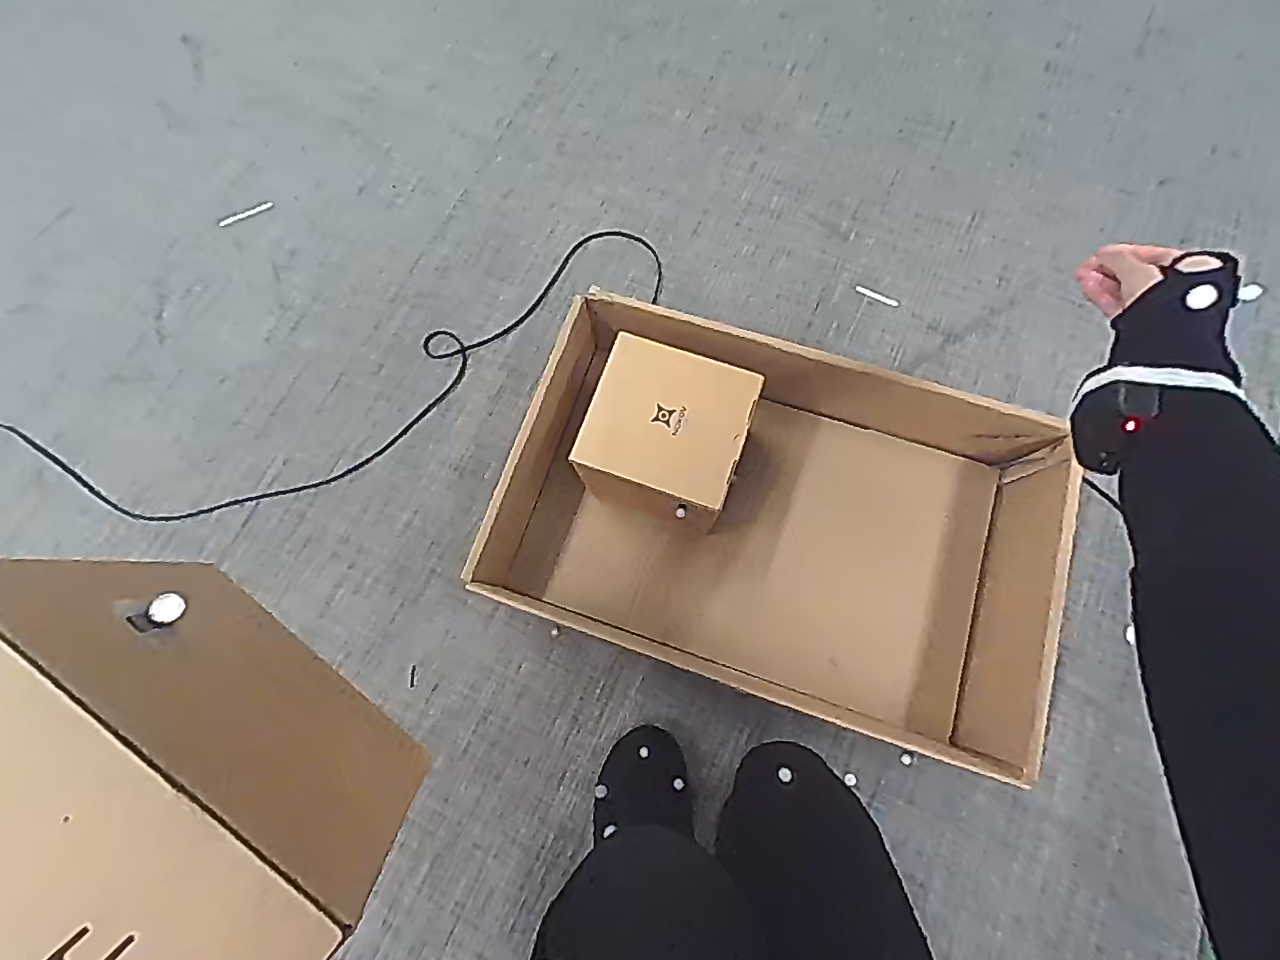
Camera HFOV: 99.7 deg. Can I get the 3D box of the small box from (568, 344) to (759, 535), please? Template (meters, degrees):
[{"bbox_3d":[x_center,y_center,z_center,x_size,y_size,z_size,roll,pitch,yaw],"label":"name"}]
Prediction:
[{"bbox_3d":[0.029,-0.039,0.676,0.179,0.176,0.168,18,77,6],"label":"small box"}]
